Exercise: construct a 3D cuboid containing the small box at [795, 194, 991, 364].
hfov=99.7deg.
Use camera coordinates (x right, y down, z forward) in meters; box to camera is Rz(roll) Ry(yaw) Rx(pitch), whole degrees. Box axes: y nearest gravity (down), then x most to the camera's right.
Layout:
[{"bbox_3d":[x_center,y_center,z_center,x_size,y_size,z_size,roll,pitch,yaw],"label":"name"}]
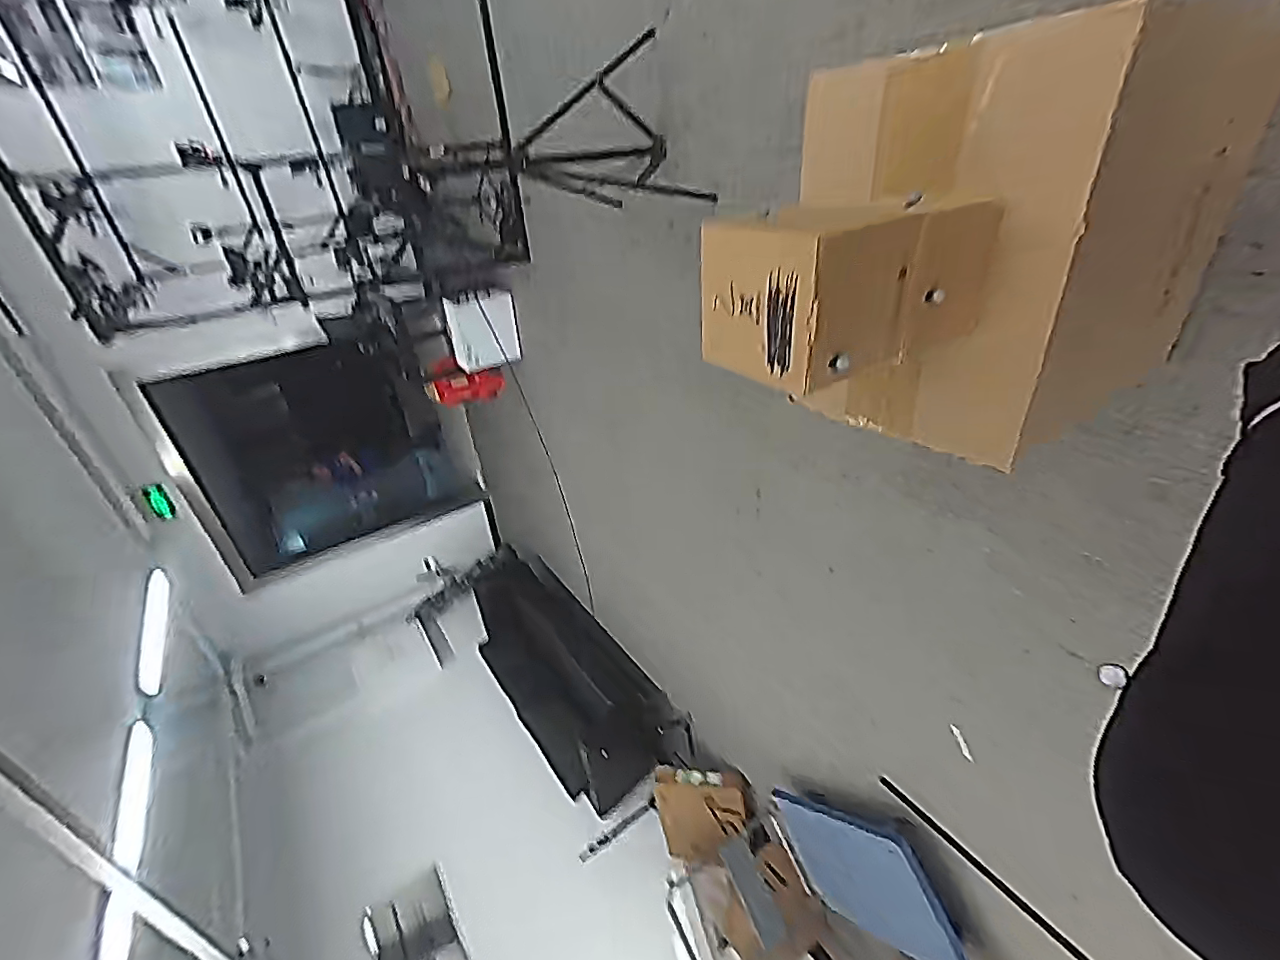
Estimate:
[{"bbox_3d":[0.330,-0.275,0.717,0.168,0.176,0.179,32,138,47],"label":"small box"}]
